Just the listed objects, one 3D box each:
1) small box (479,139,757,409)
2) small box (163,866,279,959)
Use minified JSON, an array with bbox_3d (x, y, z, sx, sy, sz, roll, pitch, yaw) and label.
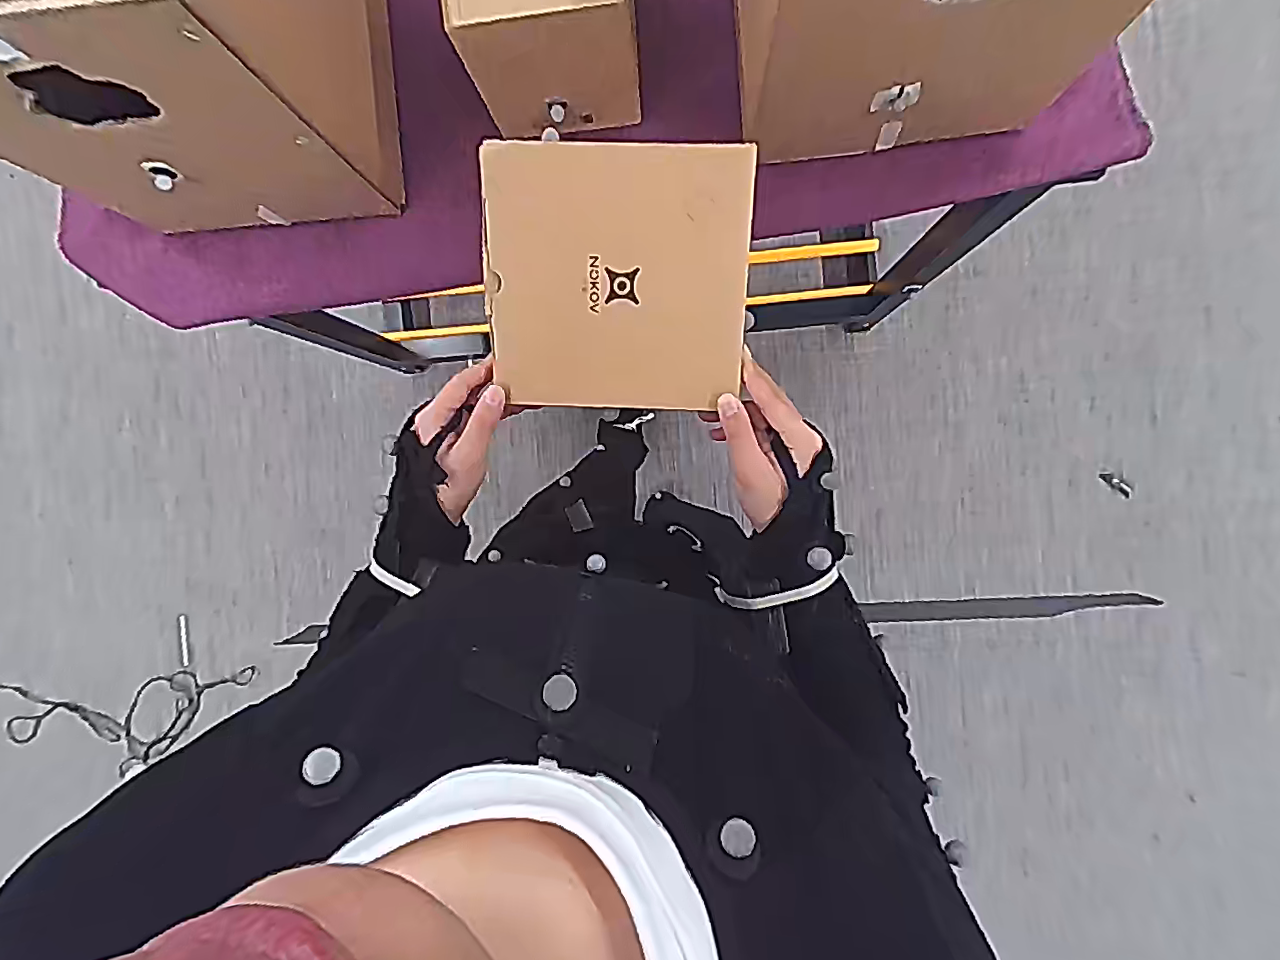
[{"bbox_3d":[-0.011,-0.155,0.433,0.179,0.176,0.168,3,107,4],"label":"small box"},{"bbox_3d":[-1.075,1.143,1.405,0.179,0.176,0.168,-6,91,5],"label":"small box"}]
